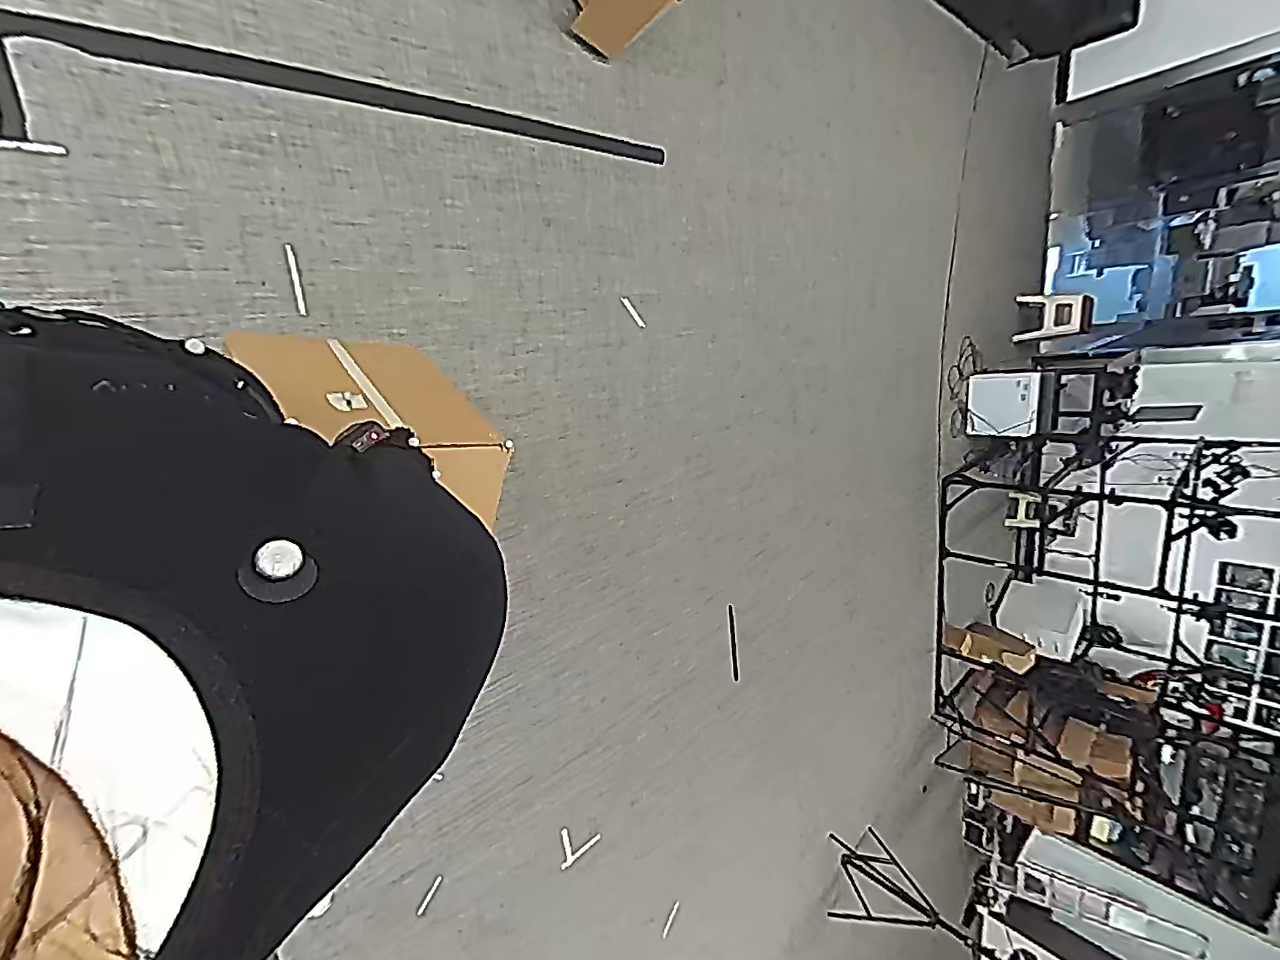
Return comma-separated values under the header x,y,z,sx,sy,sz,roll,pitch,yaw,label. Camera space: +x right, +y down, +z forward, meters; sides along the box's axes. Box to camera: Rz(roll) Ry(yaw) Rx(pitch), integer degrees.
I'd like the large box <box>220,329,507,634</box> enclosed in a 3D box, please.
x,y,z,sx,sy,sz,roll,pitch,yaw,label
-0.488,-0.019,0.919,0.320,0.408,0.320,-7,128,-43,large box
